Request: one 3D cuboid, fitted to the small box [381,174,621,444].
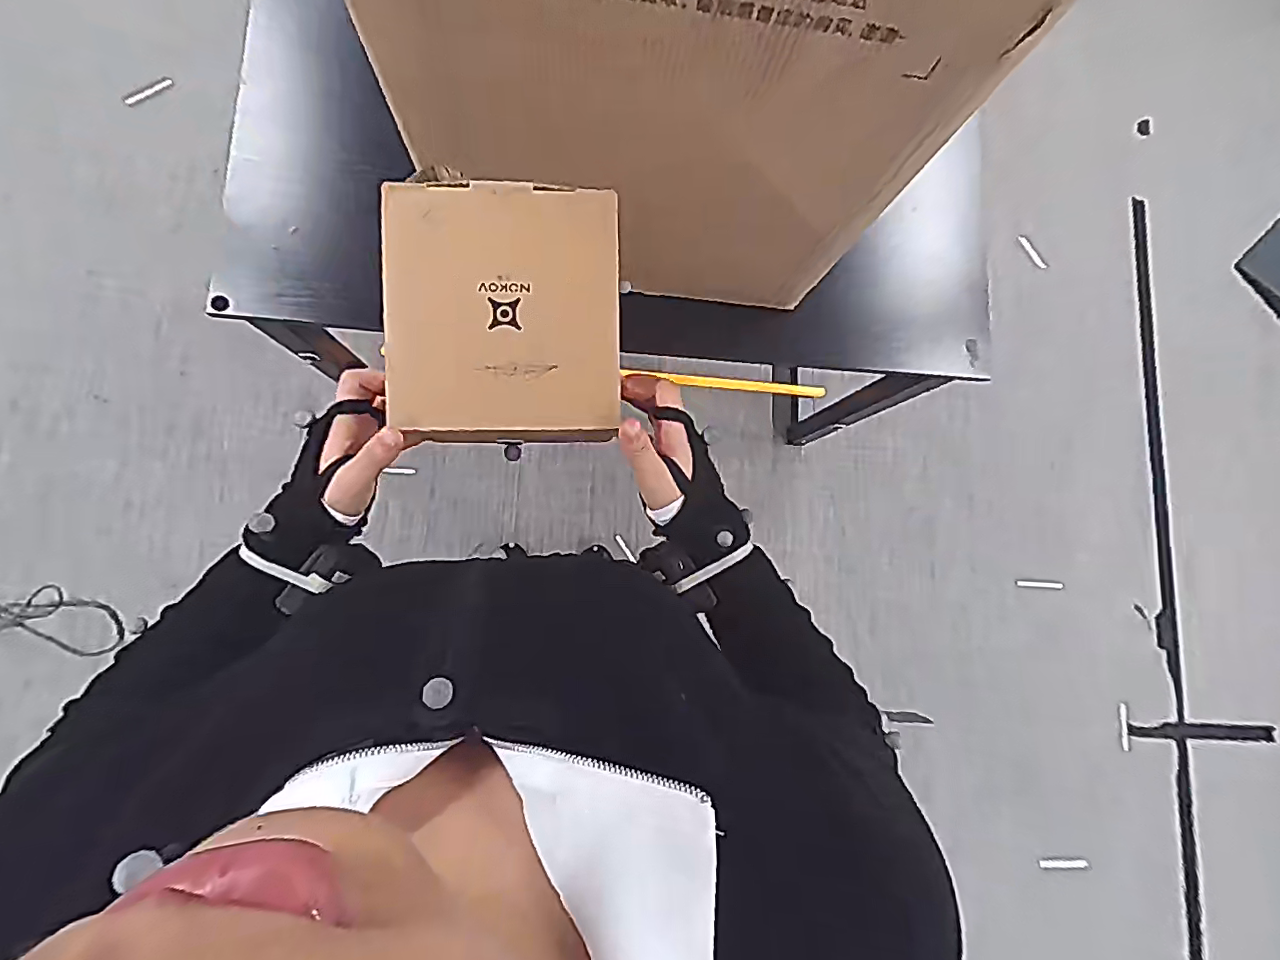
[{"bbox_3d":[-0.104,-0.123,0.458,0.168,0.176,0.179,0,91,-6],"label":"small box"}]
